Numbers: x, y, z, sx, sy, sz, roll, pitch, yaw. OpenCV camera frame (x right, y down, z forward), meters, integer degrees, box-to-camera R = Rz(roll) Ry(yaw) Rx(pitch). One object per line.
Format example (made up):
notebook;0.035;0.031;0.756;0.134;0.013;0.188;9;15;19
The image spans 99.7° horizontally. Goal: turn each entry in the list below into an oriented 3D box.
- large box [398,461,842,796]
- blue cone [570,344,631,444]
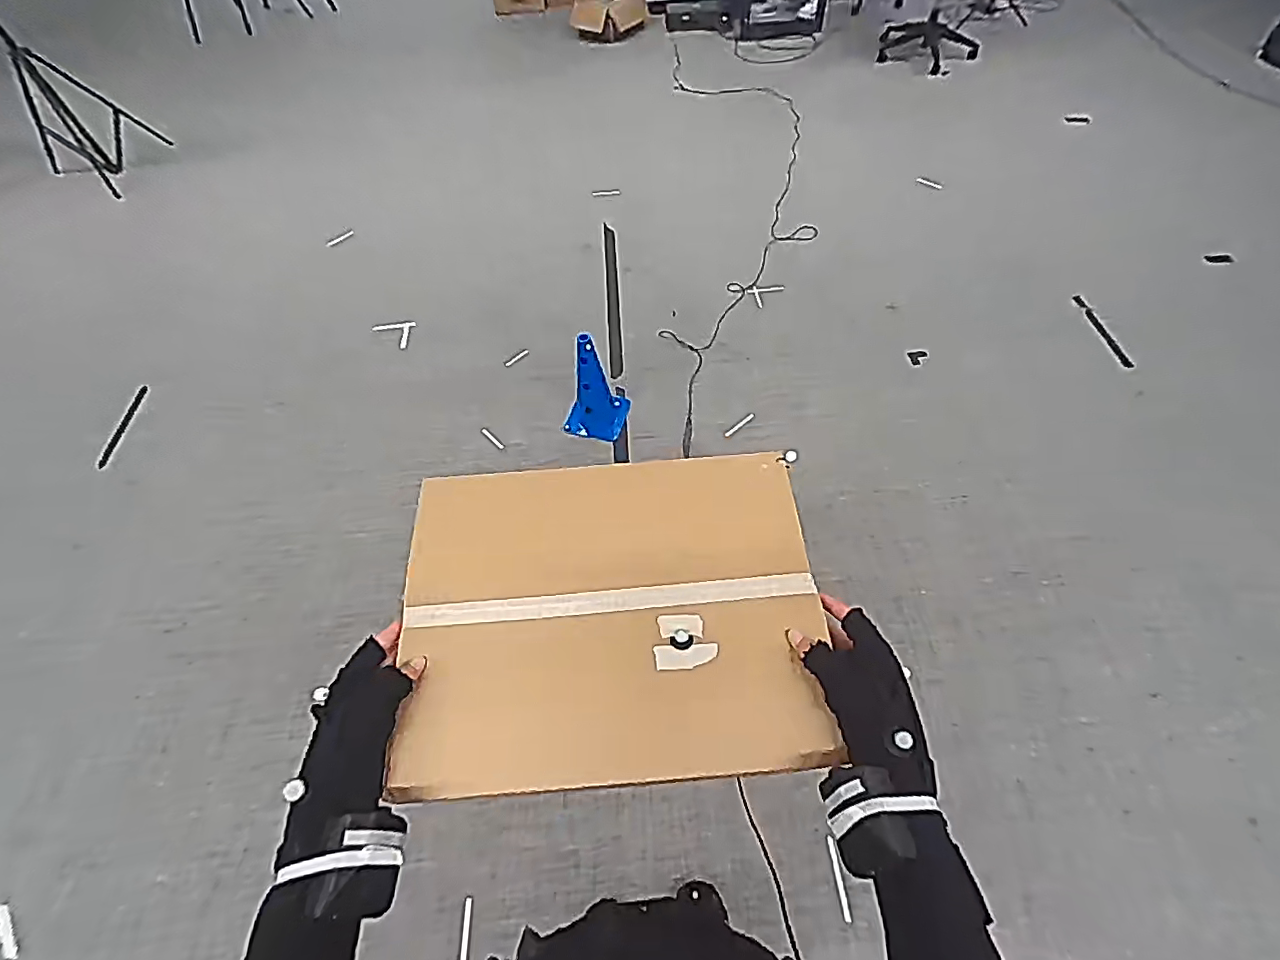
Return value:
large box;-0.025;0.200;0.676;0.408;0.320;0.320;-4;61;-1
blue cone;-0.150;-0.305;1.796;0.193;0.380;0.192;12;58;12
